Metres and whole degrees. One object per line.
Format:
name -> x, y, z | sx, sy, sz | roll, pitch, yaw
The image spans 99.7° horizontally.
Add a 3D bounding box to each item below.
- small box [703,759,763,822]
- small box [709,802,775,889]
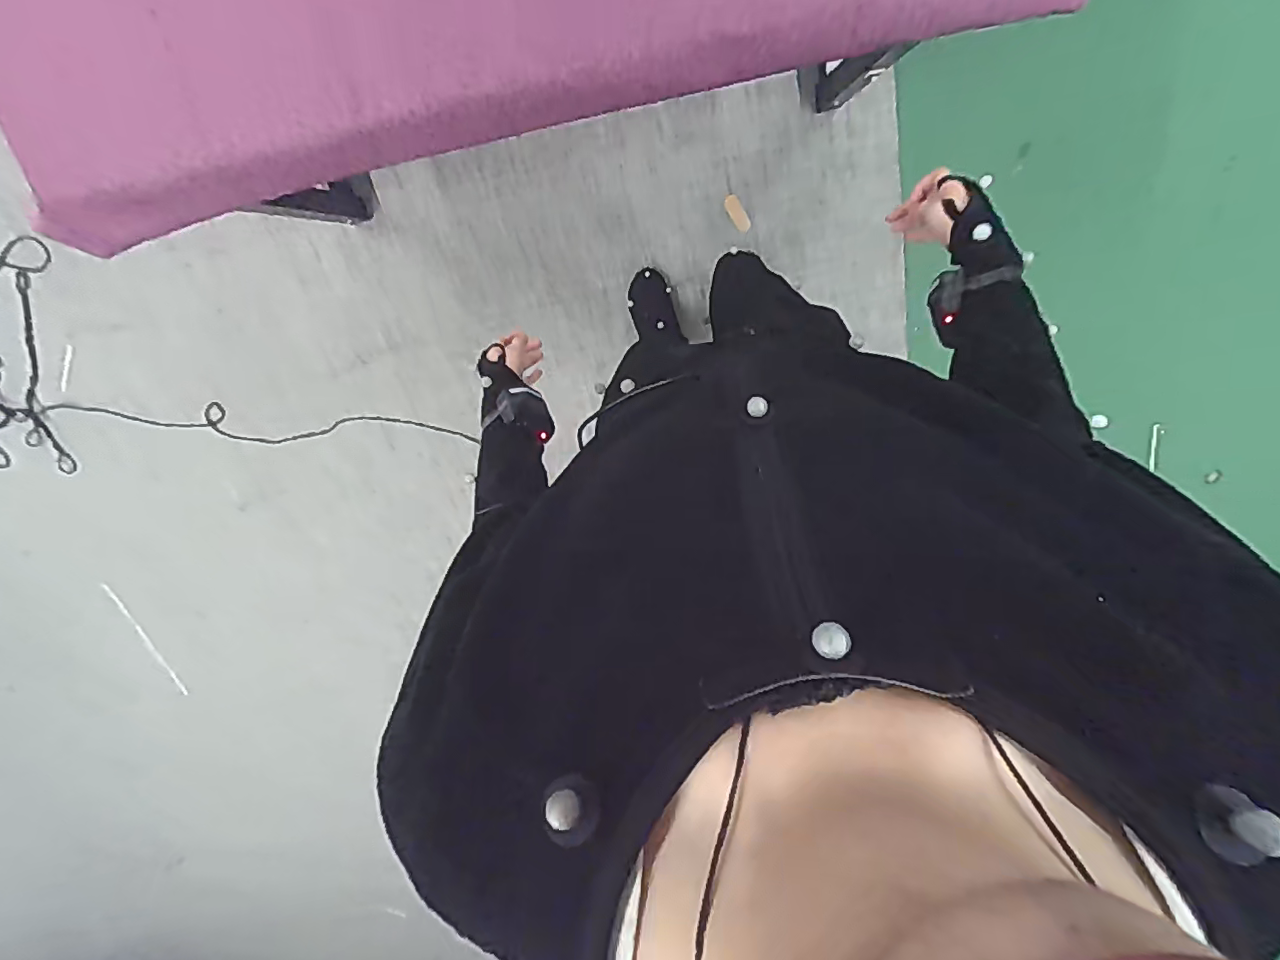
small box -> 0.326, 1.116, 1.915 | 0.168, 0.176, 0.179 | -14, 112, 6
small box -> 0.329, 1.184, 1.764 | 0.168, 0.176, 0.179 | -14, 112, 7
